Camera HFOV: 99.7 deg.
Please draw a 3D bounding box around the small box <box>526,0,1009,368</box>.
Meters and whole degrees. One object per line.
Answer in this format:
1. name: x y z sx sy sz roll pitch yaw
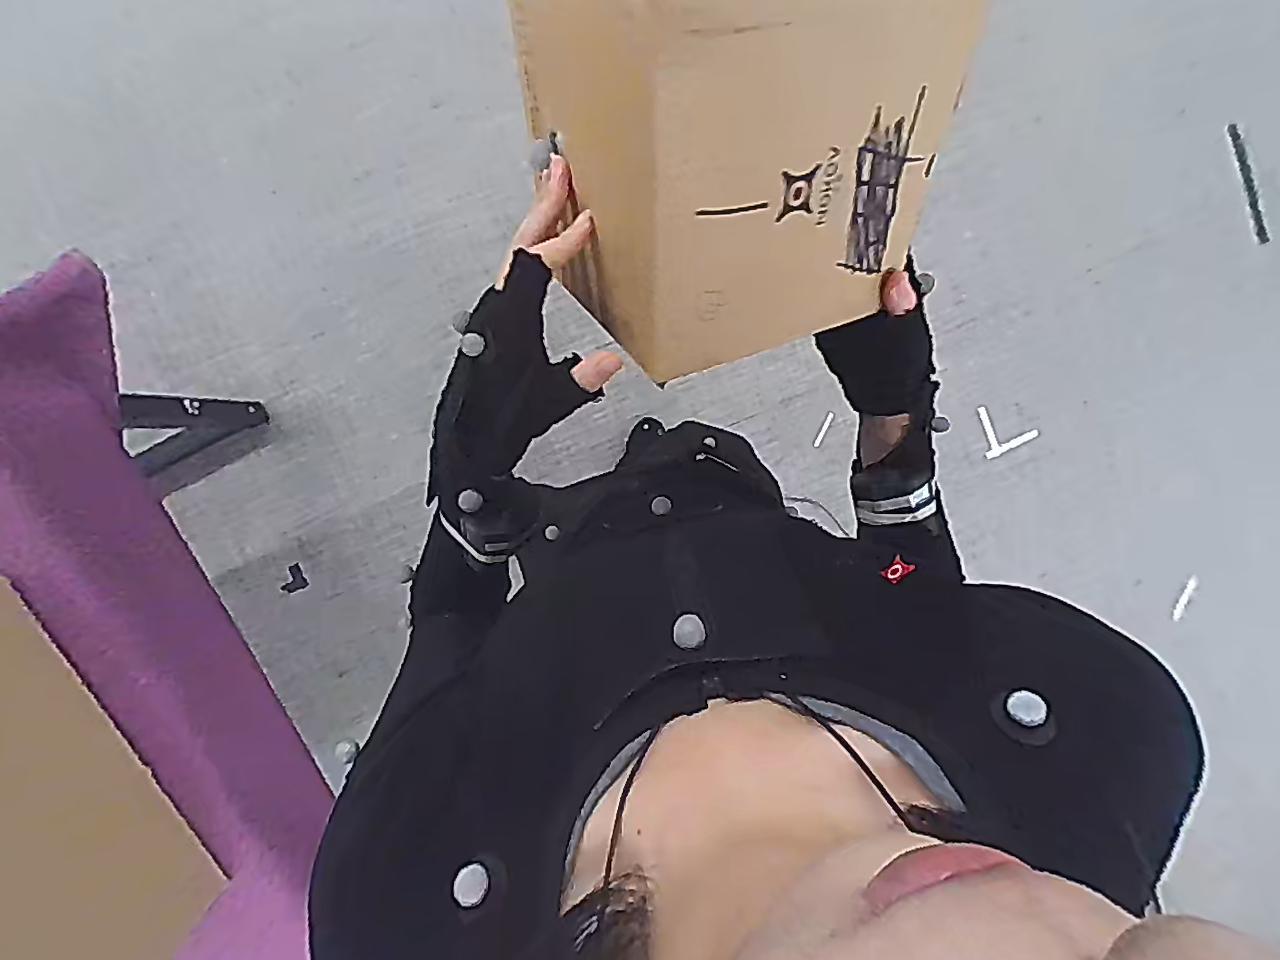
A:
1. small box: 0.051 -0.194 0.308 0.179 0.176 0.168 -19 137 -17
